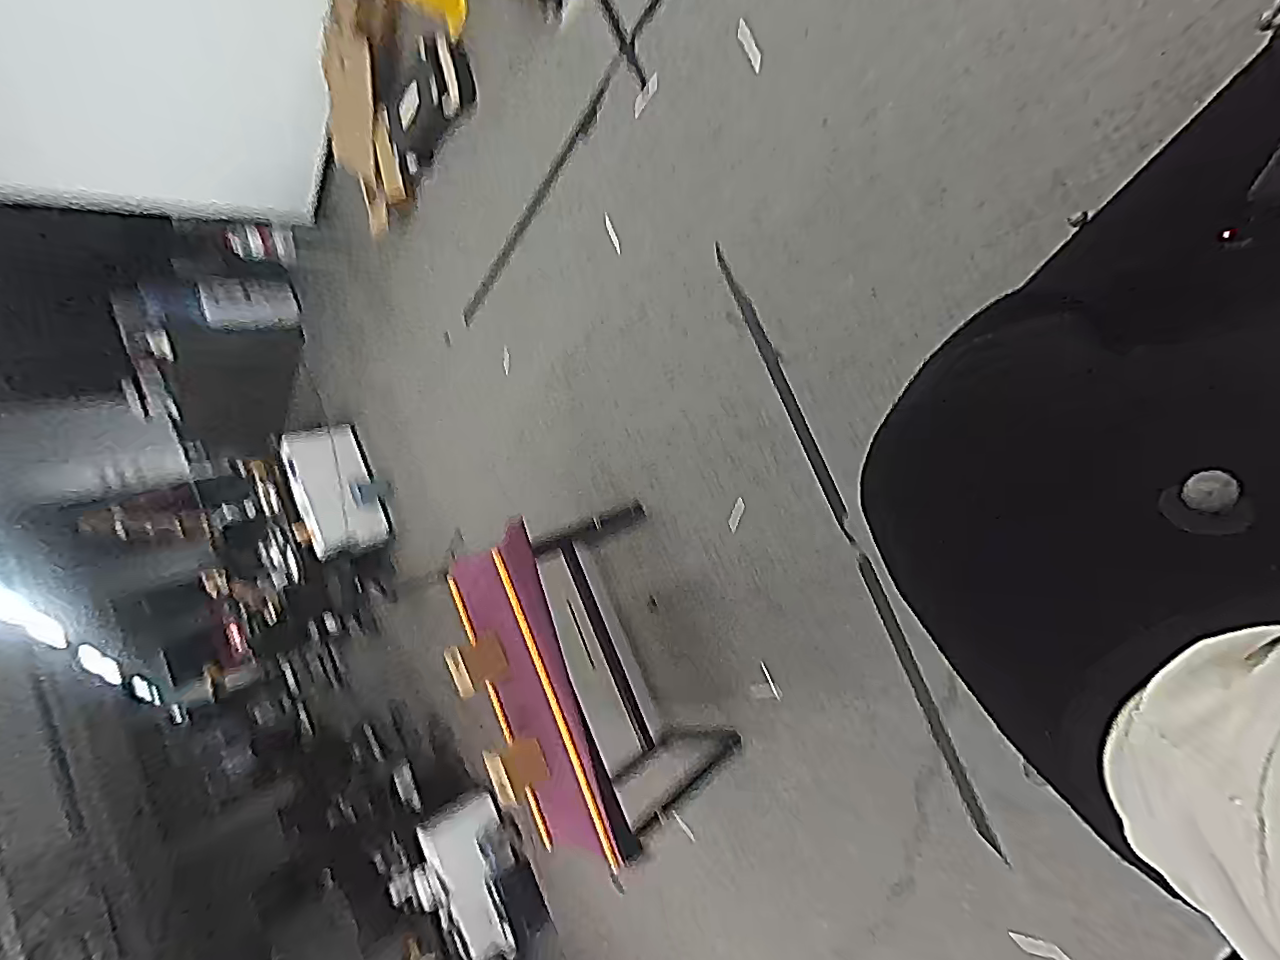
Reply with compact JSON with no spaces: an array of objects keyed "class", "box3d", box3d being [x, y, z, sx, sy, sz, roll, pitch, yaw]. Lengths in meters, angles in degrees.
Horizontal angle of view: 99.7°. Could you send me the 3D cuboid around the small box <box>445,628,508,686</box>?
[{"class":"small box","box3d":[-0.676,0.730,2.243,0.168,0.176,0.179,-33,80,46]}]
